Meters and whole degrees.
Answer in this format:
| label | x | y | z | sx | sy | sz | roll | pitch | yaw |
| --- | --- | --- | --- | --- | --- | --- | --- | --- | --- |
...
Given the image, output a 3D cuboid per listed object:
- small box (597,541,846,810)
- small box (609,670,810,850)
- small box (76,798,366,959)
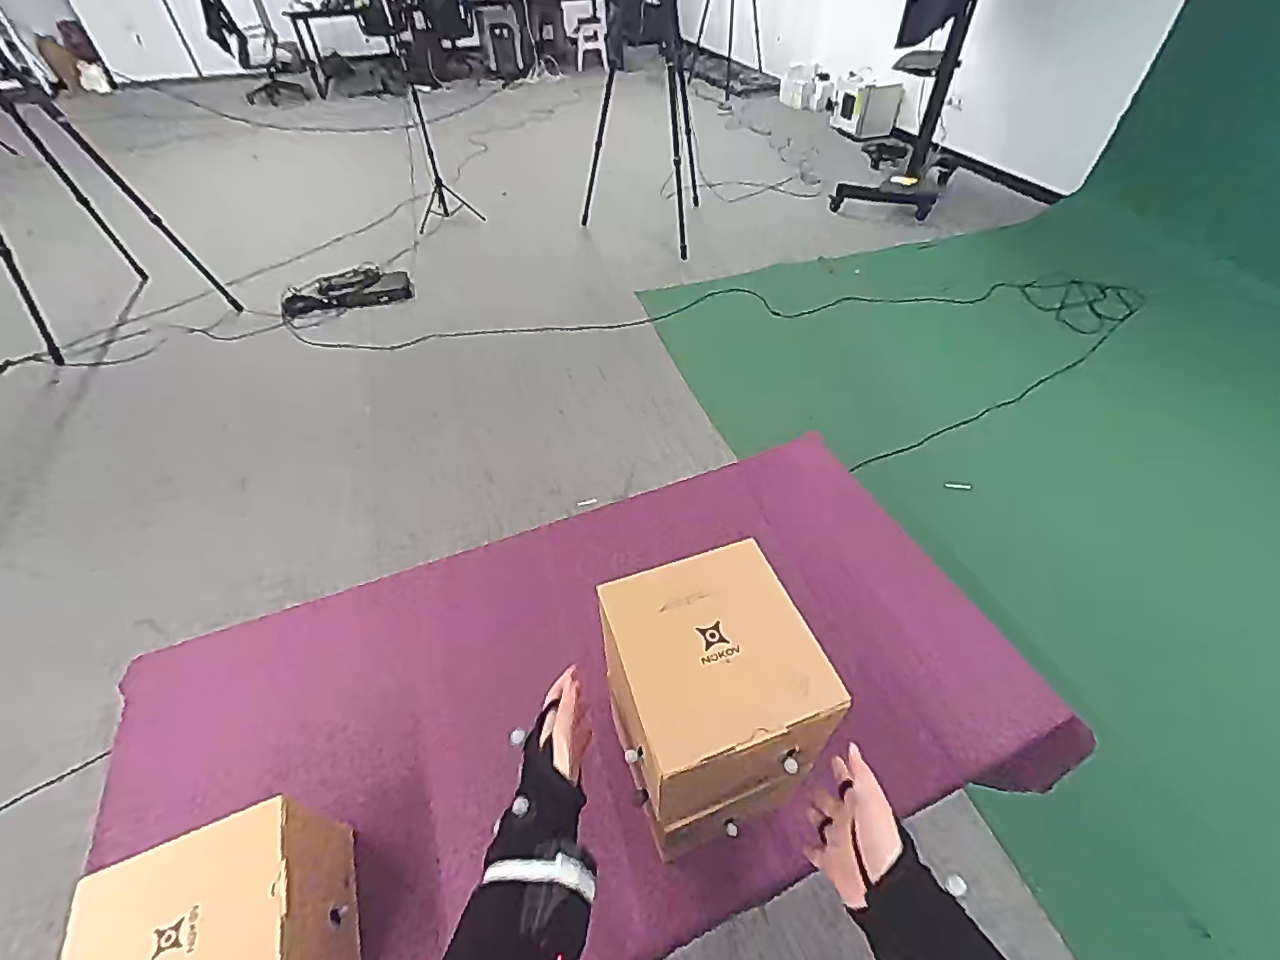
| label | x | y | z | sx | sy | sz | roll | pitch | yaw |
| --- | --- | --- | --- | --- | --- | --- | --- | --- | --- |
| small box | 0.066 | 0.194 | 0.526 | 0.168 | 0.176 | 0.179 | -15 | 47 | -12 |
| small box | 0.073 | 0.310 | 0.643 | 0.168 | 0.176 | 0.179 | -17 | 48 | -13 |
| small box | -0.395 | 0.456 | 0.530 | 0.179 | 0.176 | 0.168 | -19 | 48 | -16 |
